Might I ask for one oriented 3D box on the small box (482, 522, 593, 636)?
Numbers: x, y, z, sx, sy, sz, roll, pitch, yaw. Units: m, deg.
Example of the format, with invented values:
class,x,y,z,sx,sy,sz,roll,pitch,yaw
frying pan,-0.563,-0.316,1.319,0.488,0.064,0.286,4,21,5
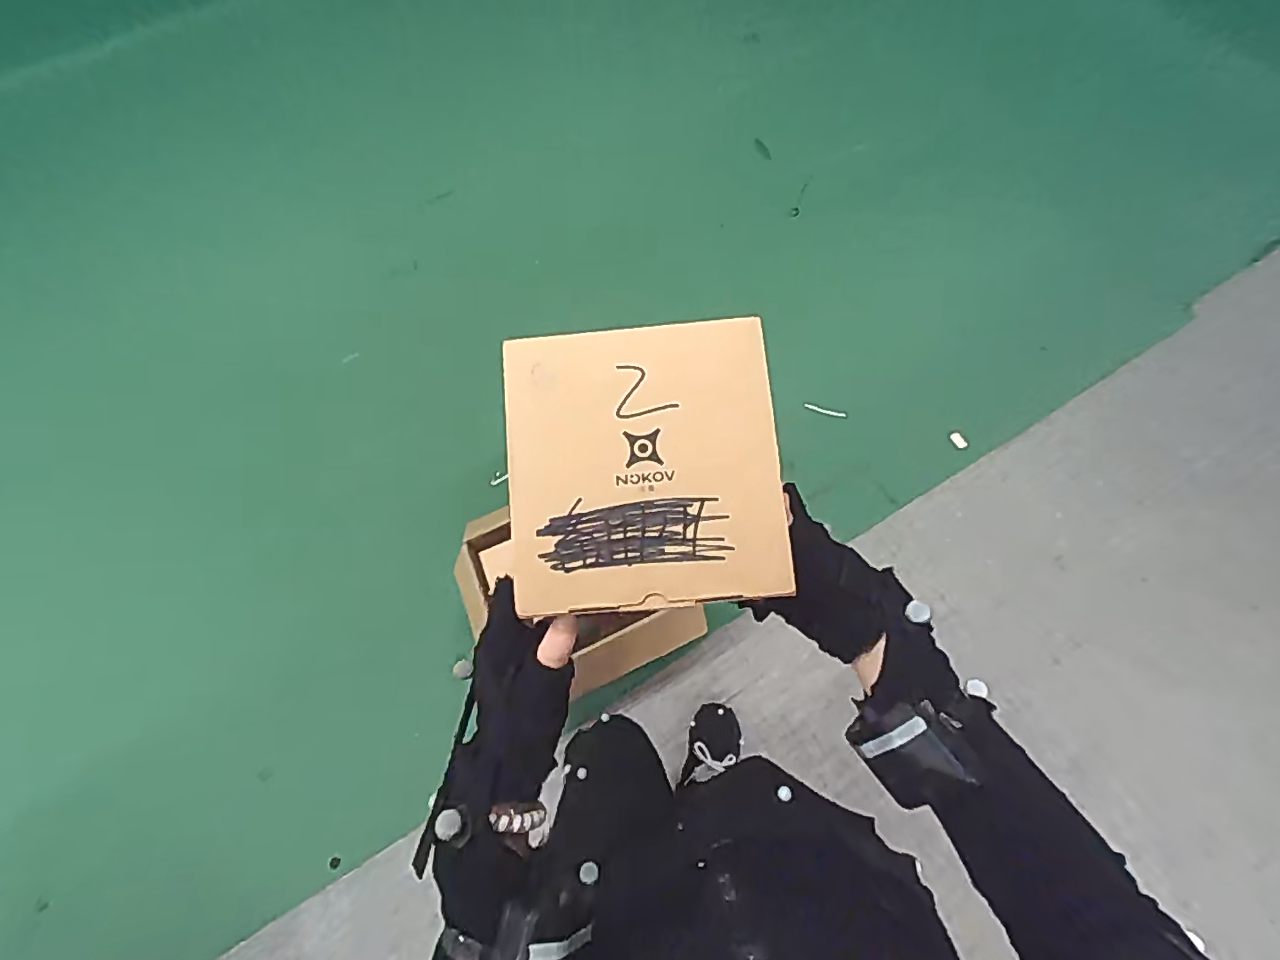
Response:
class,x,y,z,sx,sy,sz,roll,pitch,yaw
small box,-0.208,0.213,1.132,0.168,0.176,0.179,-22,71,-5
